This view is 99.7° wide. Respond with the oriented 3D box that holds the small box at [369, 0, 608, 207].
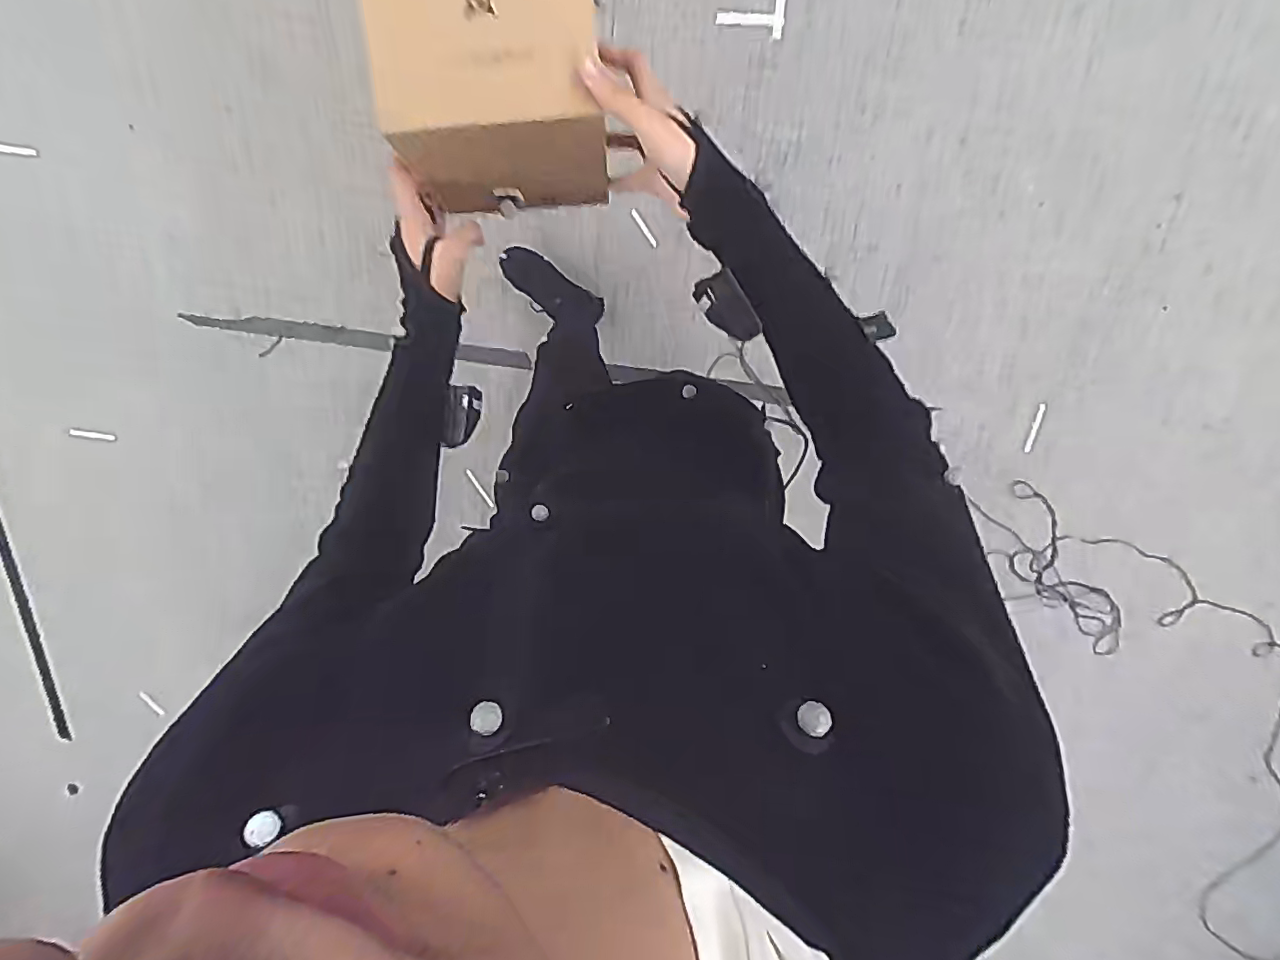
[{"bbox_3d":[-0.116,-0.363,0.466,0.168,0.176,0.179,-5,95,-2],"label":"small box"}]
